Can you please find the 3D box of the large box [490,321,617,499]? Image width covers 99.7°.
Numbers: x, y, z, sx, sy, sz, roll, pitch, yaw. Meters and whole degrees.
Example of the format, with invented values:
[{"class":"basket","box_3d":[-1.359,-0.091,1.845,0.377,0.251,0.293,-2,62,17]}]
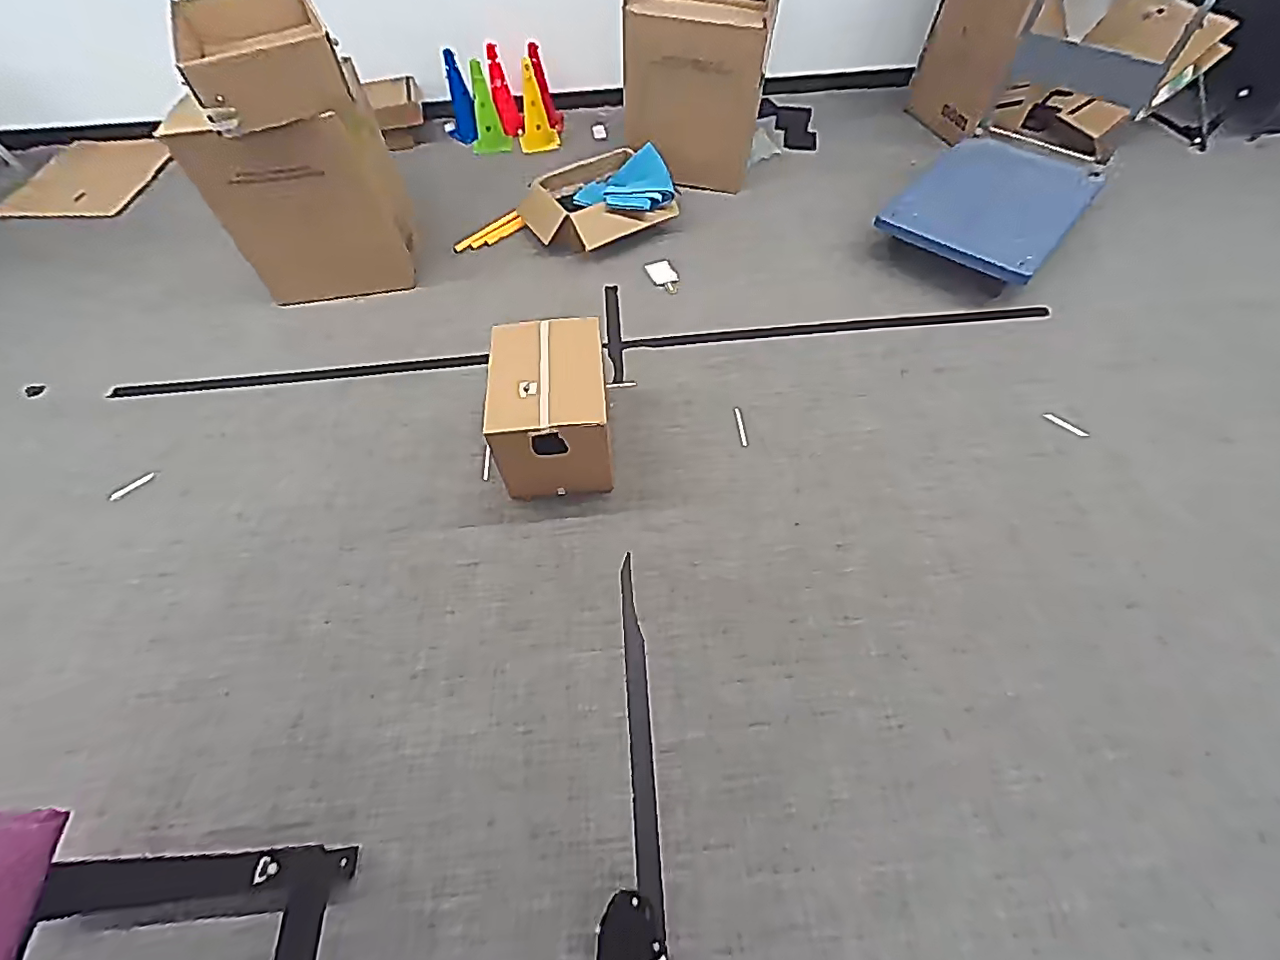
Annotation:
[{"class":"large box","box_3d":[-0.244,-0.203,1.579,0.320,0.320,0.408,-6,57,-1]}]
